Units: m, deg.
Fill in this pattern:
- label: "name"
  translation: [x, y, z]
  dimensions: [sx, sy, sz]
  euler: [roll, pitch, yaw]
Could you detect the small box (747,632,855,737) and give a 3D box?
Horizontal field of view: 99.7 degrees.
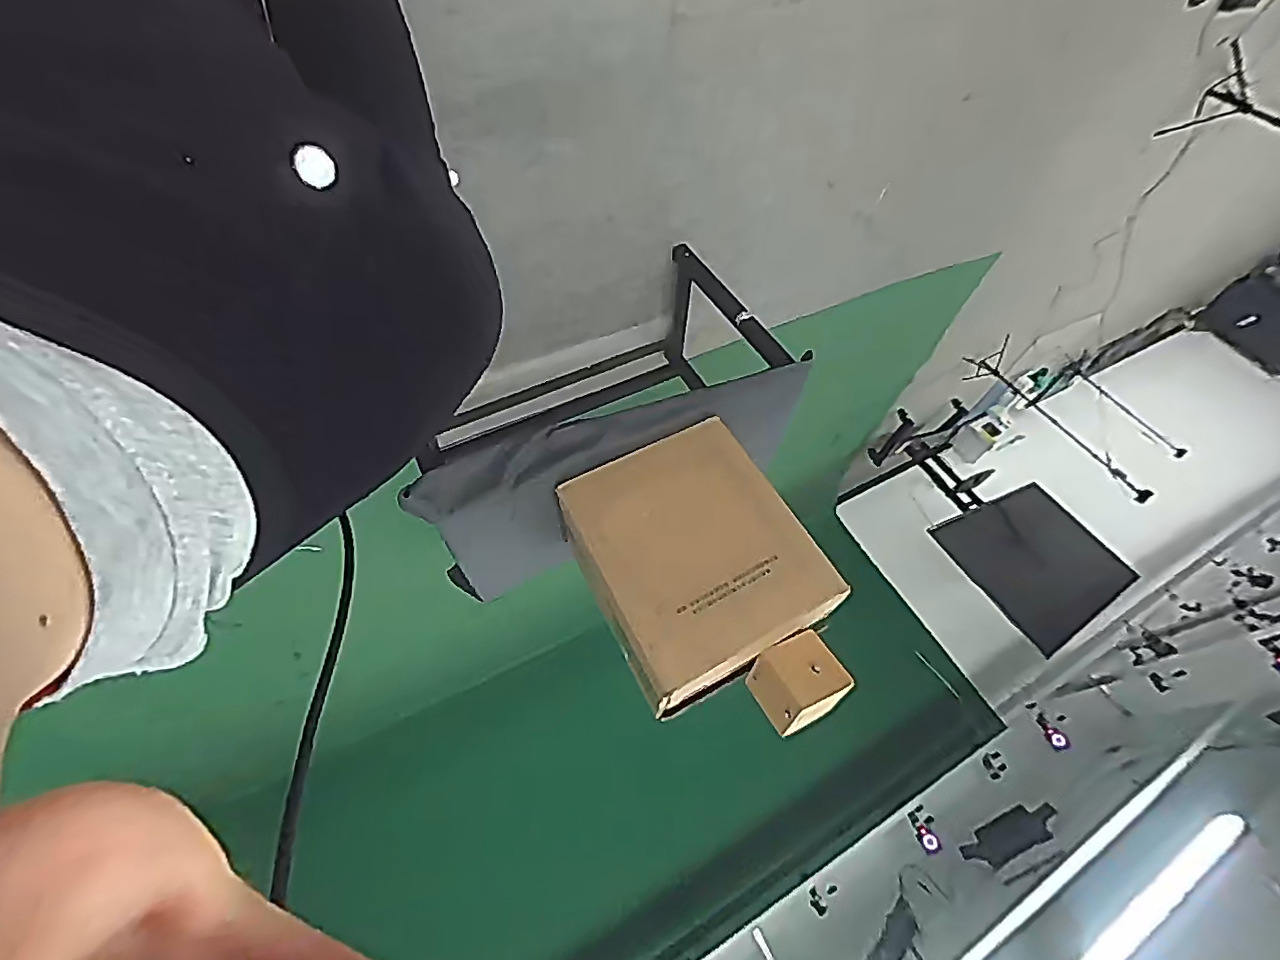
- label: "small box"
  translation: [0.413, 0.525, 1.408]
  dimensions: [0.179, 0.176, 0.168]
  euler: [-16, 138, -25]
